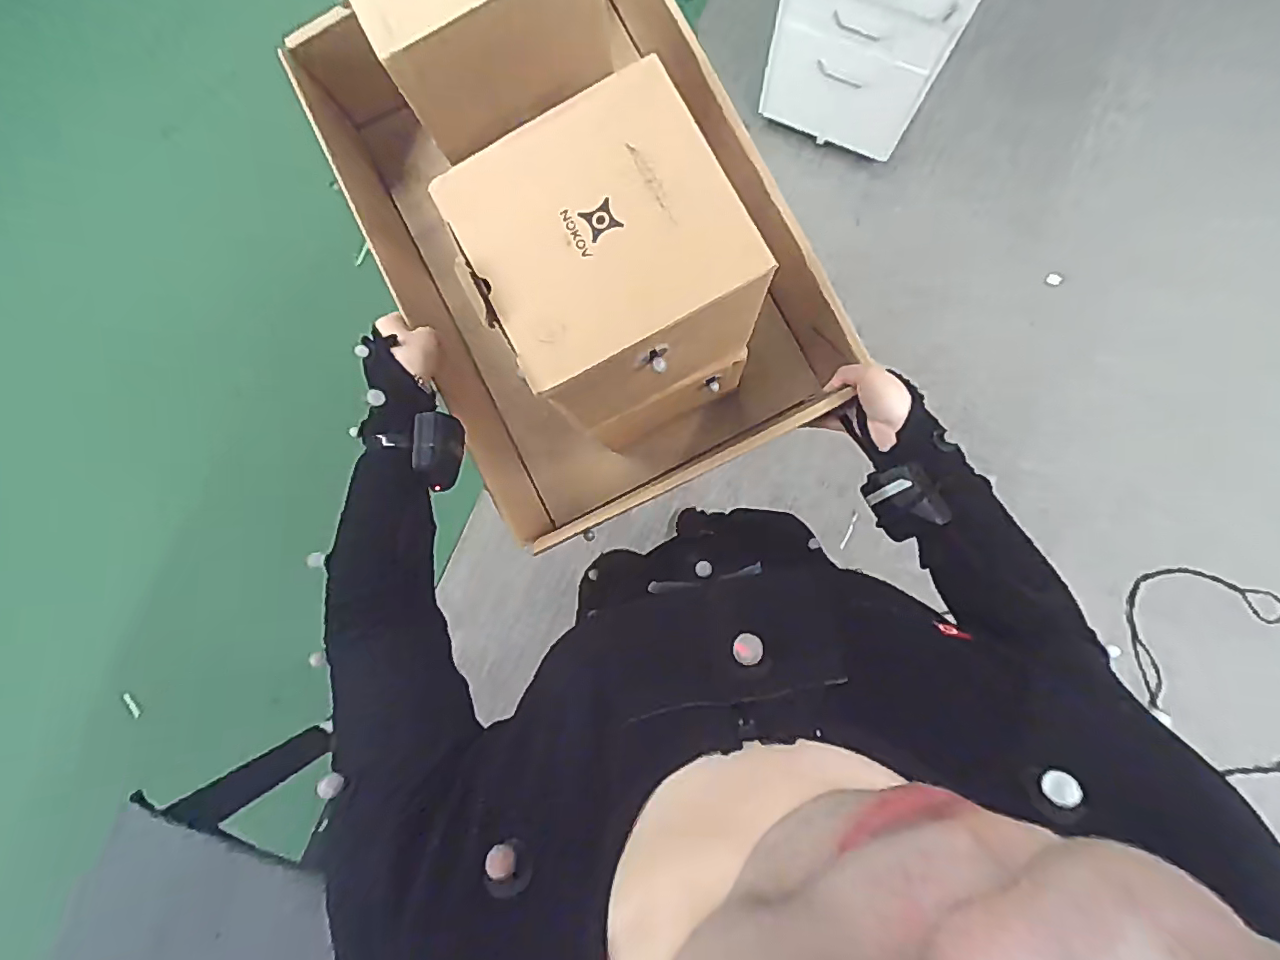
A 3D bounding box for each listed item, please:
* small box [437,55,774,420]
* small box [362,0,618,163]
[{"bbox_3d":[-0.019,-0.164,0.431,0.179,0.176,0.168,-28,86,2],"label":"small box"},{"bbox_3d":[-0.128,-0.394,0.446,0.168,0.176,0.179,-26,88,3],"label":"small box"}]
